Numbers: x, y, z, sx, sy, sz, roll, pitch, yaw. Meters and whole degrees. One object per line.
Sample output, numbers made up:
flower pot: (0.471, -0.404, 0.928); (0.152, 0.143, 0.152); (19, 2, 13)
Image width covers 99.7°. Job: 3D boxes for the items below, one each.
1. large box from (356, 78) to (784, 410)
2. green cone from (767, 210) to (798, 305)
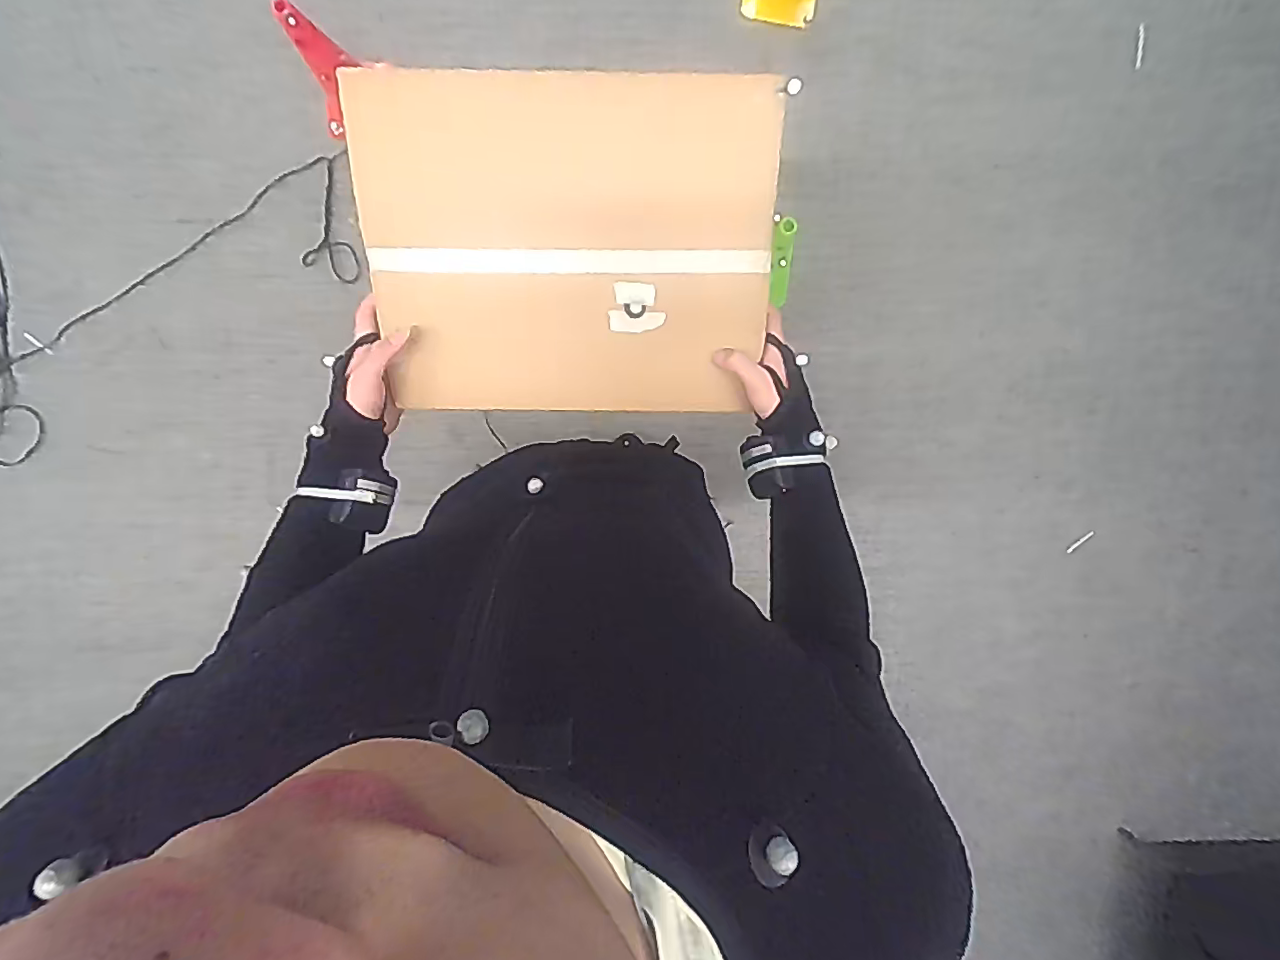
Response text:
large box: (-0.067, -0.281, 0.690); (0.408, 0.320, 0.320); (0, 114, -1)
green cone: (0.335, -0.597, 1.388); (0.200, 0.368, 0.202); (5, 96, -2)
